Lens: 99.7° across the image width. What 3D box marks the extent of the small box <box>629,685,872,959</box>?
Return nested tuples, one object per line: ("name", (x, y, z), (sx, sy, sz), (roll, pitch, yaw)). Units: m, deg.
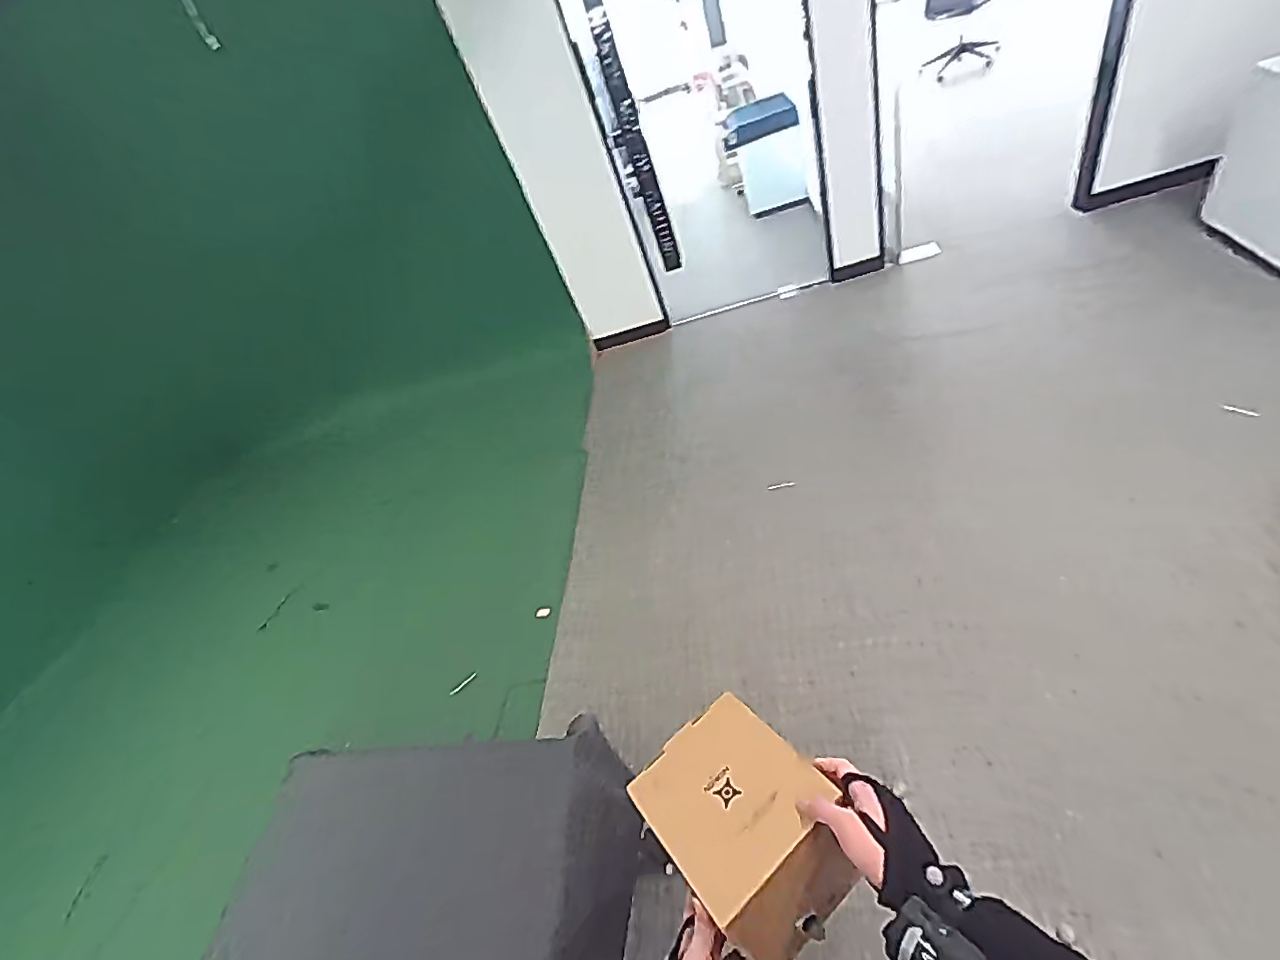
("small box", (0.121, 0.376, 0.597), (0.168, 0.176, 0.179), (-37, 30, -15))
